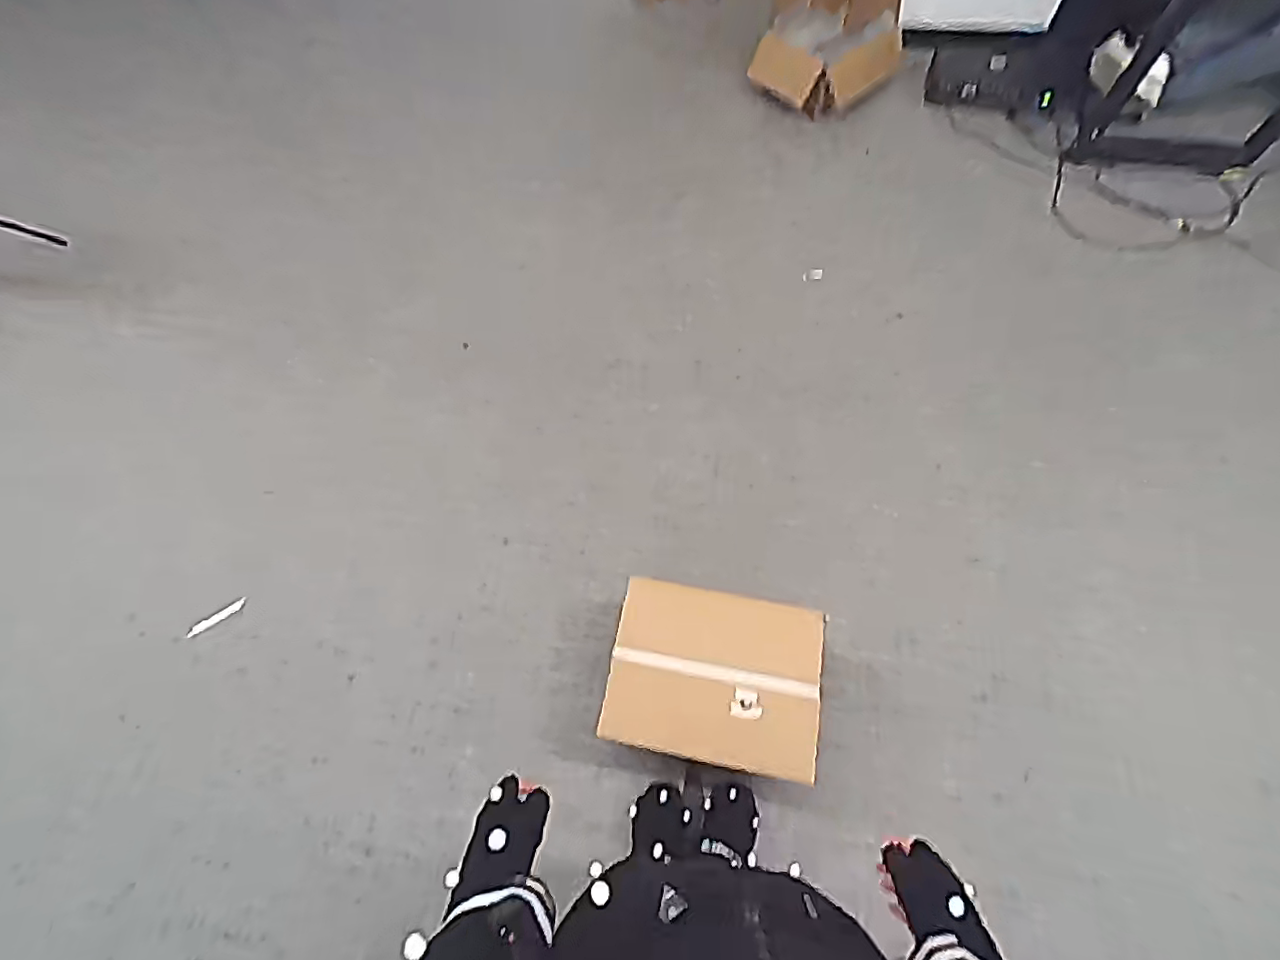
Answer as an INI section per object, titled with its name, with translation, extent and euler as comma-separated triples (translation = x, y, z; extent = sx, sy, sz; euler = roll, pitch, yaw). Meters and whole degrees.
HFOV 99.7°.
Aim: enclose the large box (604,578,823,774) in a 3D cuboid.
[large box]
translation = 0.154, 0.431, 1.194
extent = 0.408, 0.320, 0.320
euler = 9, 68, 6
